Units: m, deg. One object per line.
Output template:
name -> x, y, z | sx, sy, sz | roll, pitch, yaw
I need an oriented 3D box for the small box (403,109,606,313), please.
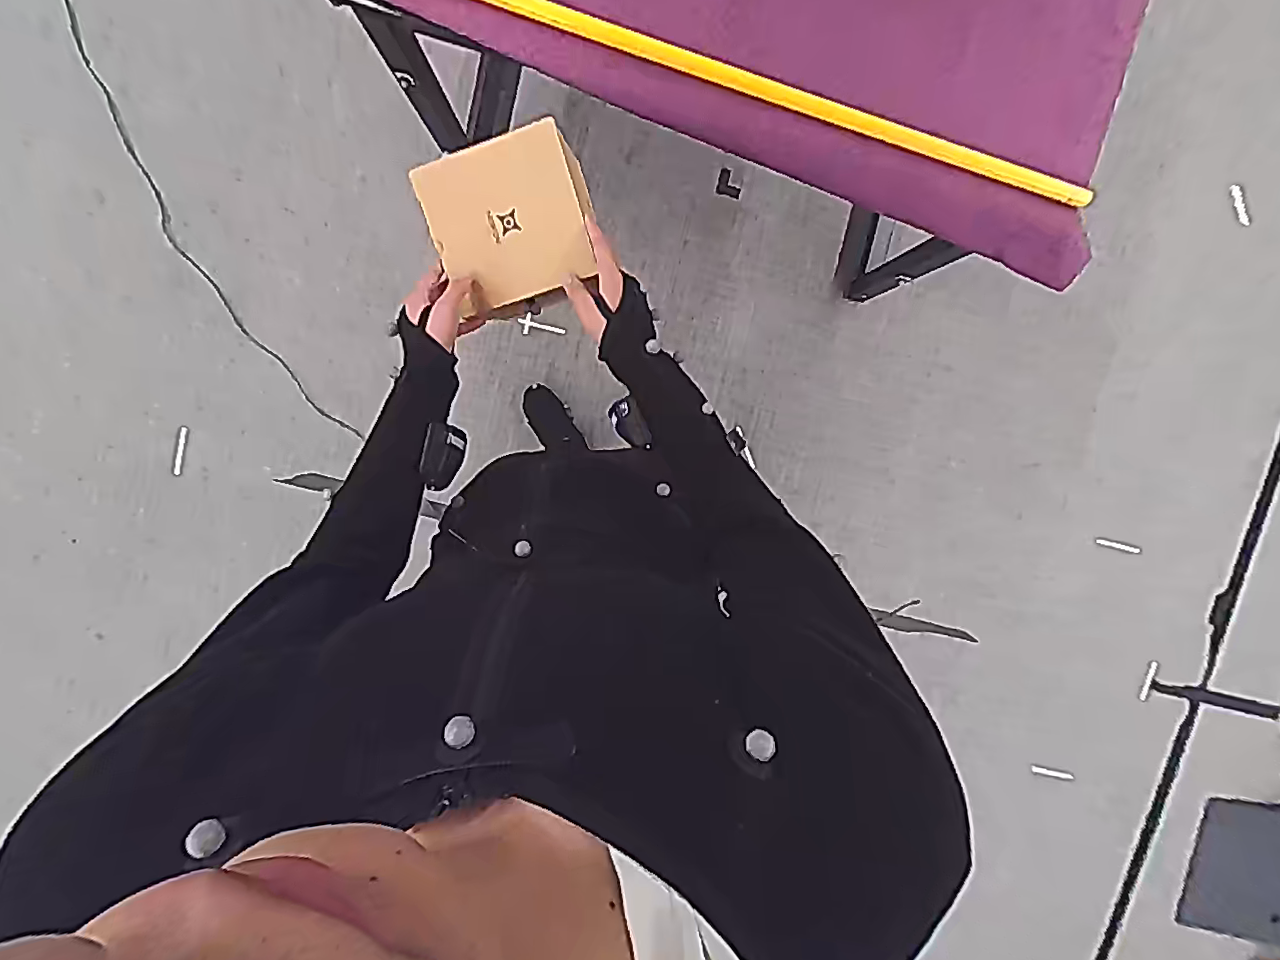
small box -> -0.147, -0.314, 0.668 | 0.179, 0.176, 0.168 | -15, 106, 9
